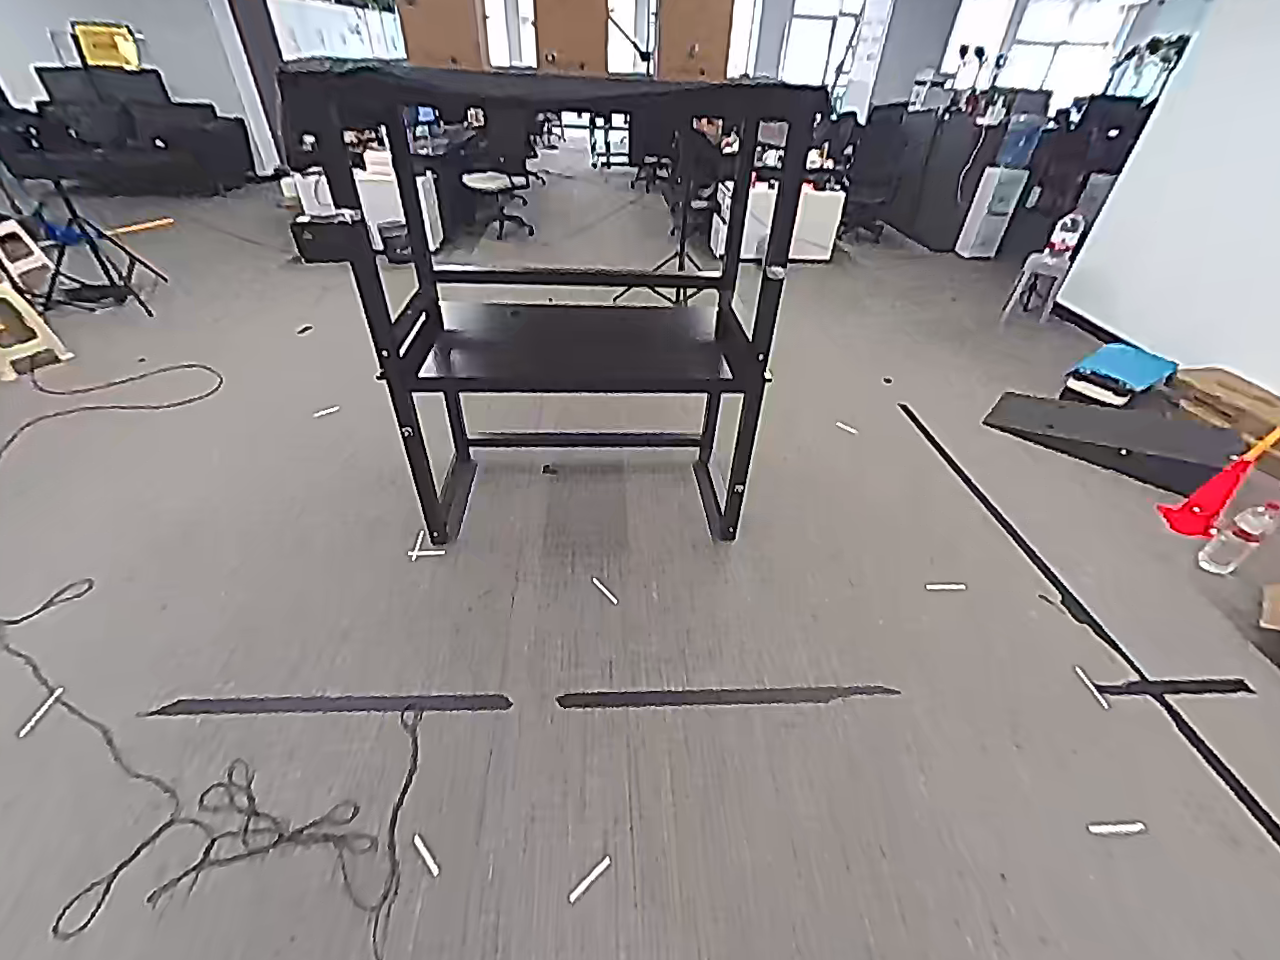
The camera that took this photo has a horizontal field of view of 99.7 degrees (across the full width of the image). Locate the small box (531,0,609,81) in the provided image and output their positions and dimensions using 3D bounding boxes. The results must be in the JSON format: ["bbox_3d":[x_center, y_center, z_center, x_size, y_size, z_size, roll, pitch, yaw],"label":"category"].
[{"bbox_3d":[-0.156,-1.036,1.258,0.168,0.176,0.179,0,36,-4],"label":"small box"}]

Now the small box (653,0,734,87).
[{"bbox_3d":[0.118,-1.039,1.277,0.168,0.176,0.179,-1,37,-2],"label":"small box"}]
